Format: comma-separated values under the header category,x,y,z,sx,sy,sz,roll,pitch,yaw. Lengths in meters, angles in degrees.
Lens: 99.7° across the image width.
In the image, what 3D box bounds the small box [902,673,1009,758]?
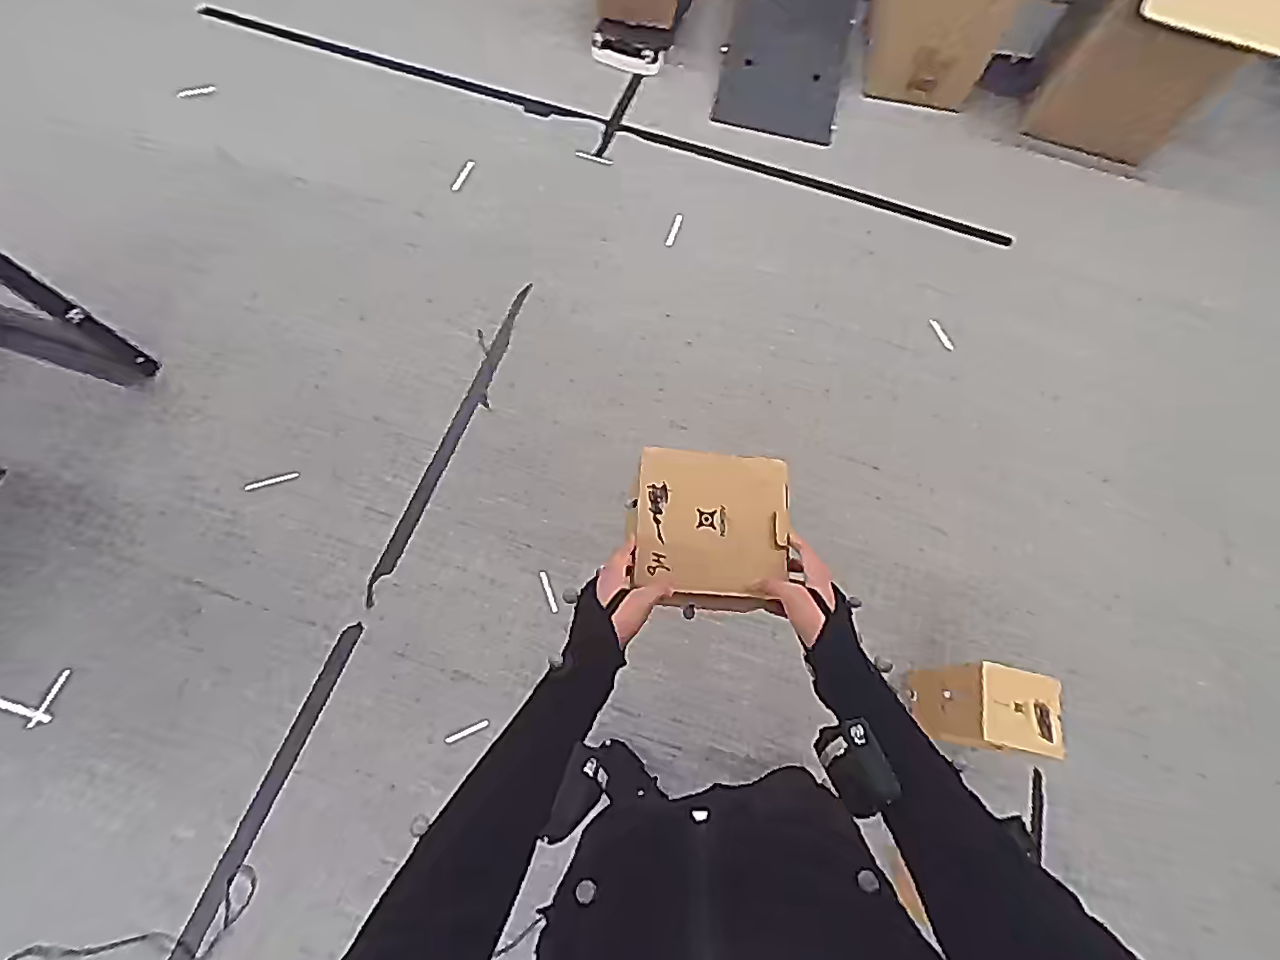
category,x,y,z,sx,sy,sz,roll,pitch,yaw
small box,0.805,0.597,1.387,0.179,0.176,0.168,13,69,1

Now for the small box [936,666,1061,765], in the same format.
category,x,y,z,sx,sy,sz,roll,pitch,yaw
small box,0.814,0.531,1.237,0.179,0.176,0.168,14,68,2

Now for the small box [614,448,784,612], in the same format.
category,x,y,z,sx,sy,sz,roll,pitch,yaw
small box,0.067,0.073,0.682,0.179,0.176,0.168,6,71,-6
